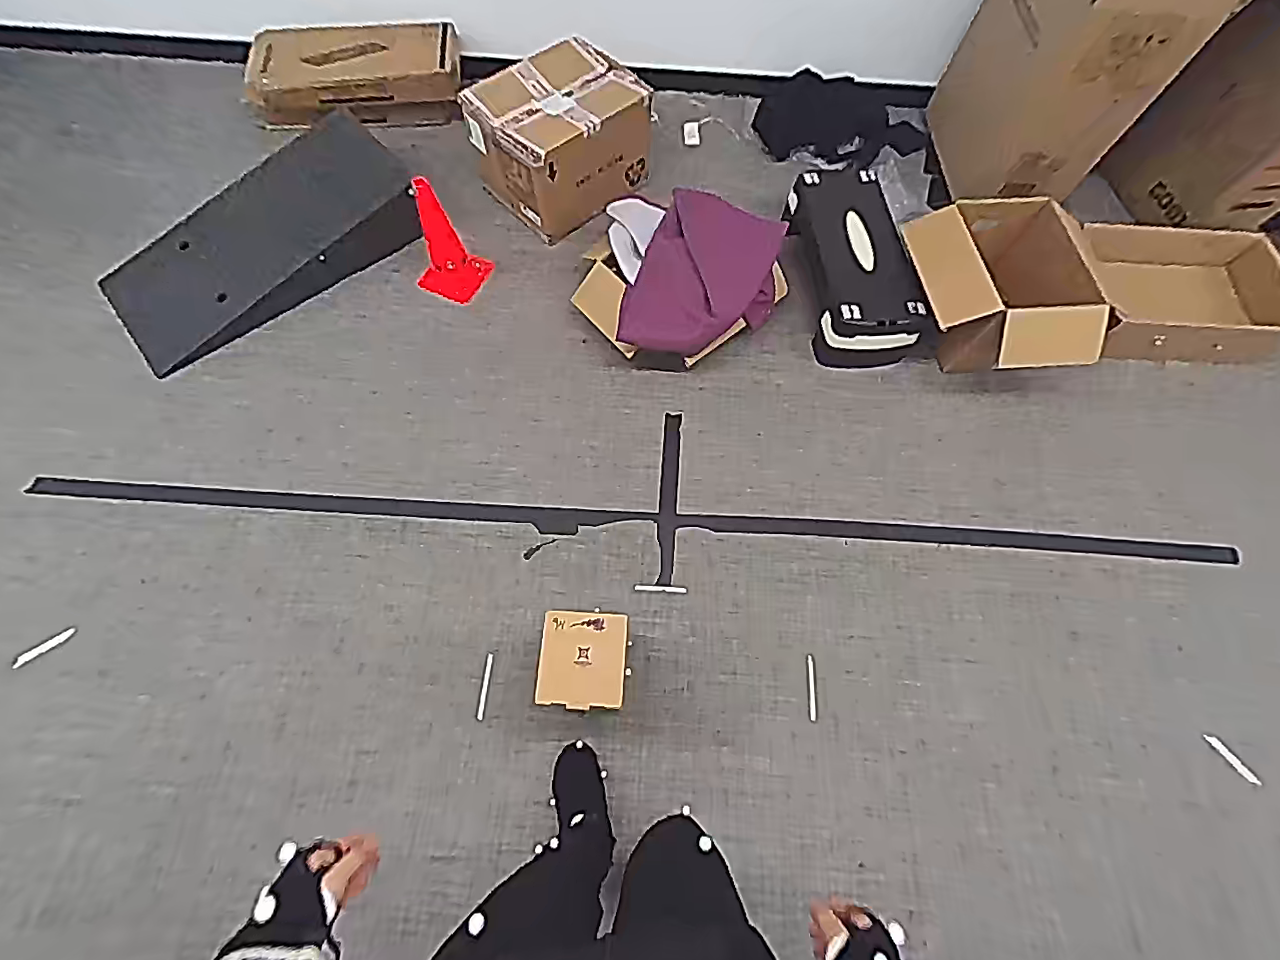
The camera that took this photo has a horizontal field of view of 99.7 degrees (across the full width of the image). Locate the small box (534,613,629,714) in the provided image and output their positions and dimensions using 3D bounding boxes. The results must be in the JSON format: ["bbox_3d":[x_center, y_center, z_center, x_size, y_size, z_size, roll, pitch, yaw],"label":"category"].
[{"bbox_3d":[-0.111,0.378,1.108,0.168,0.176,0.179,3,67,1],"label":"small box"}]
